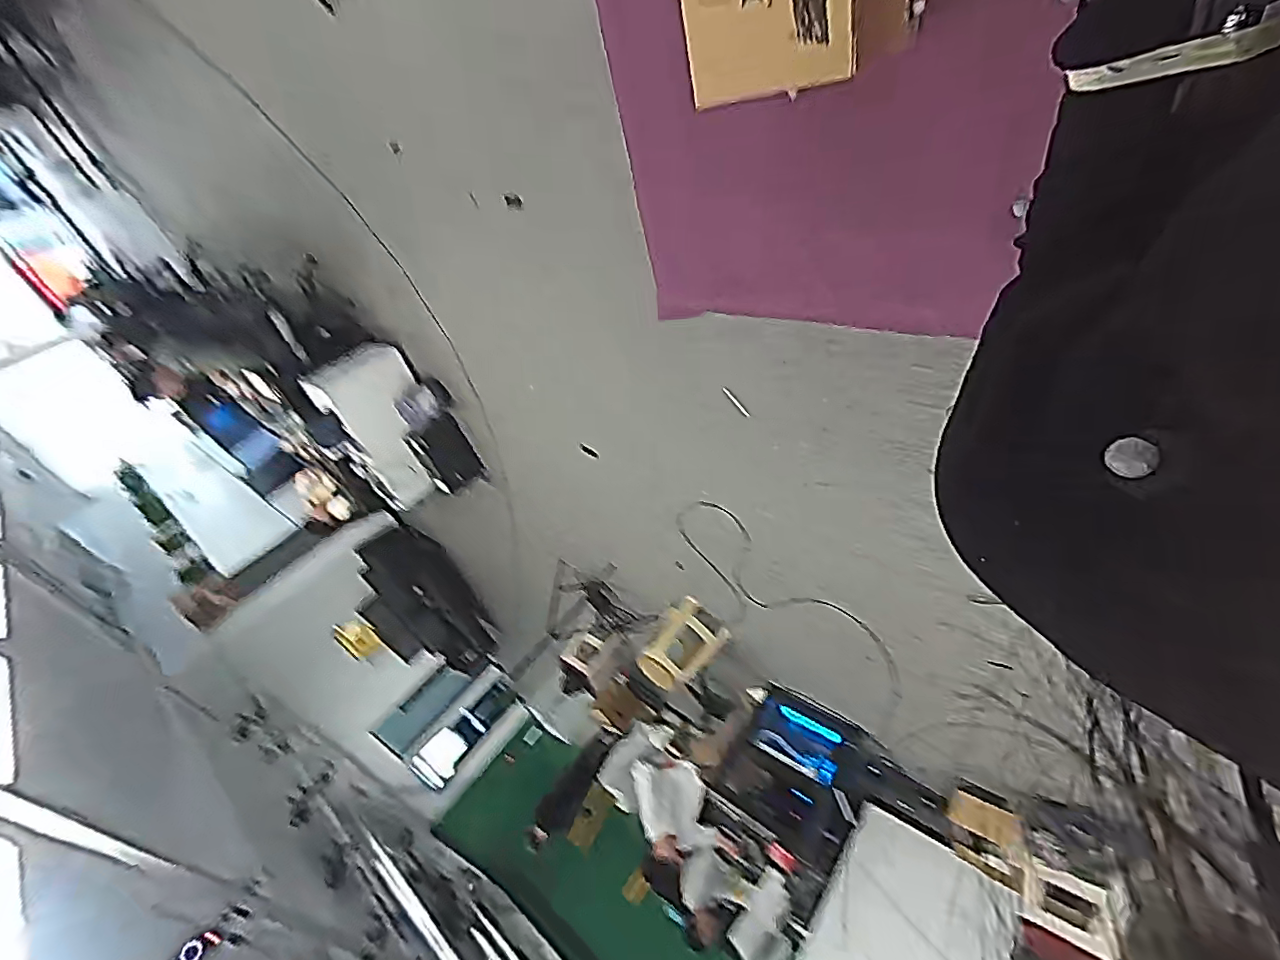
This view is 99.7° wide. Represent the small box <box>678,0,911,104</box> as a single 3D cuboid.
[{"bbox_3d":[0.154,-0.495,0.526,0.179,0.176,0.168,19,140,38],"label":"small box"}]
